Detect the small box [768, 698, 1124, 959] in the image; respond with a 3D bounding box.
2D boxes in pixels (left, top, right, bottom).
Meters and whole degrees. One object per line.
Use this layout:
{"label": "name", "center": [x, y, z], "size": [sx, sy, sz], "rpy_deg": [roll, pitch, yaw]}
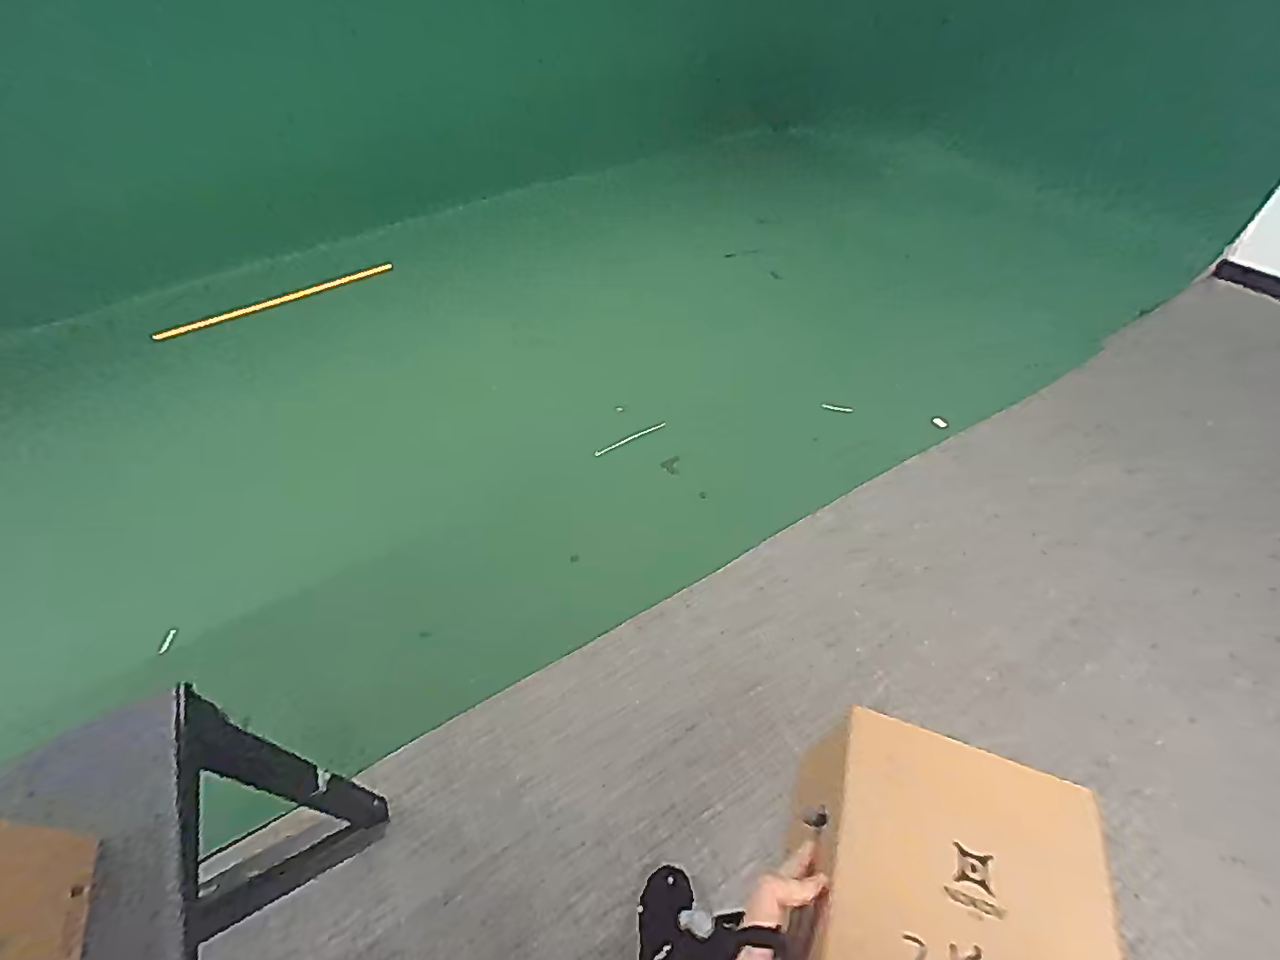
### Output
{"label": "small box", "center": [0.202, 0.299, 0.395], "size": [0.168, 0.176, 0.179], "rpy_deg": [17, 49, 12]}
